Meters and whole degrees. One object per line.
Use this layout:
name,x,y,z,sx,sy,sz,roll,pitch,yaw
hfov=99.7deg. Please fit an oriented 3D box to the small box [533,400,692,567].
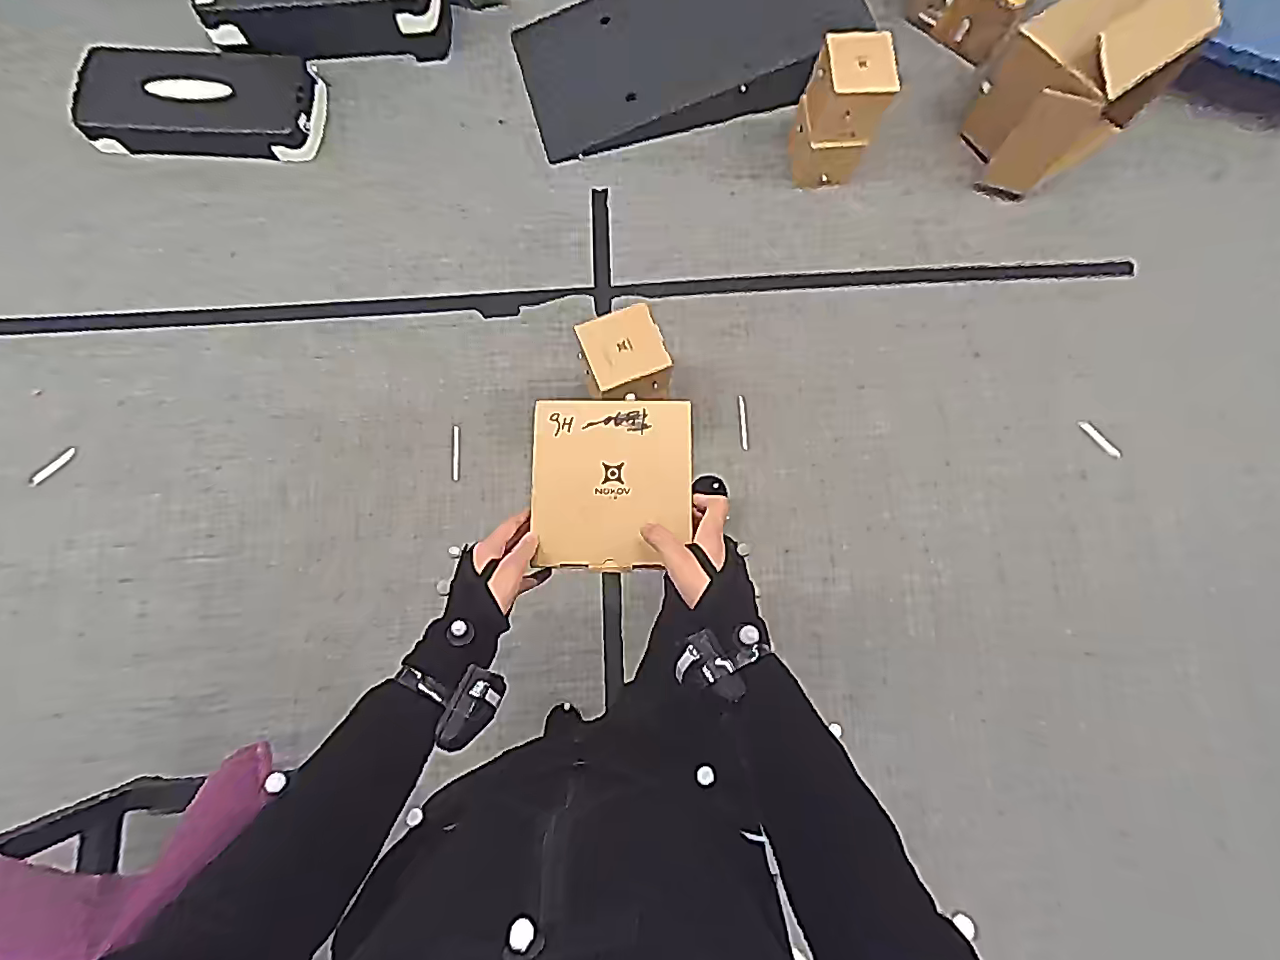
small box,-0.026,0.013,0.644,0.168,0.176,0.179,1,81,0
